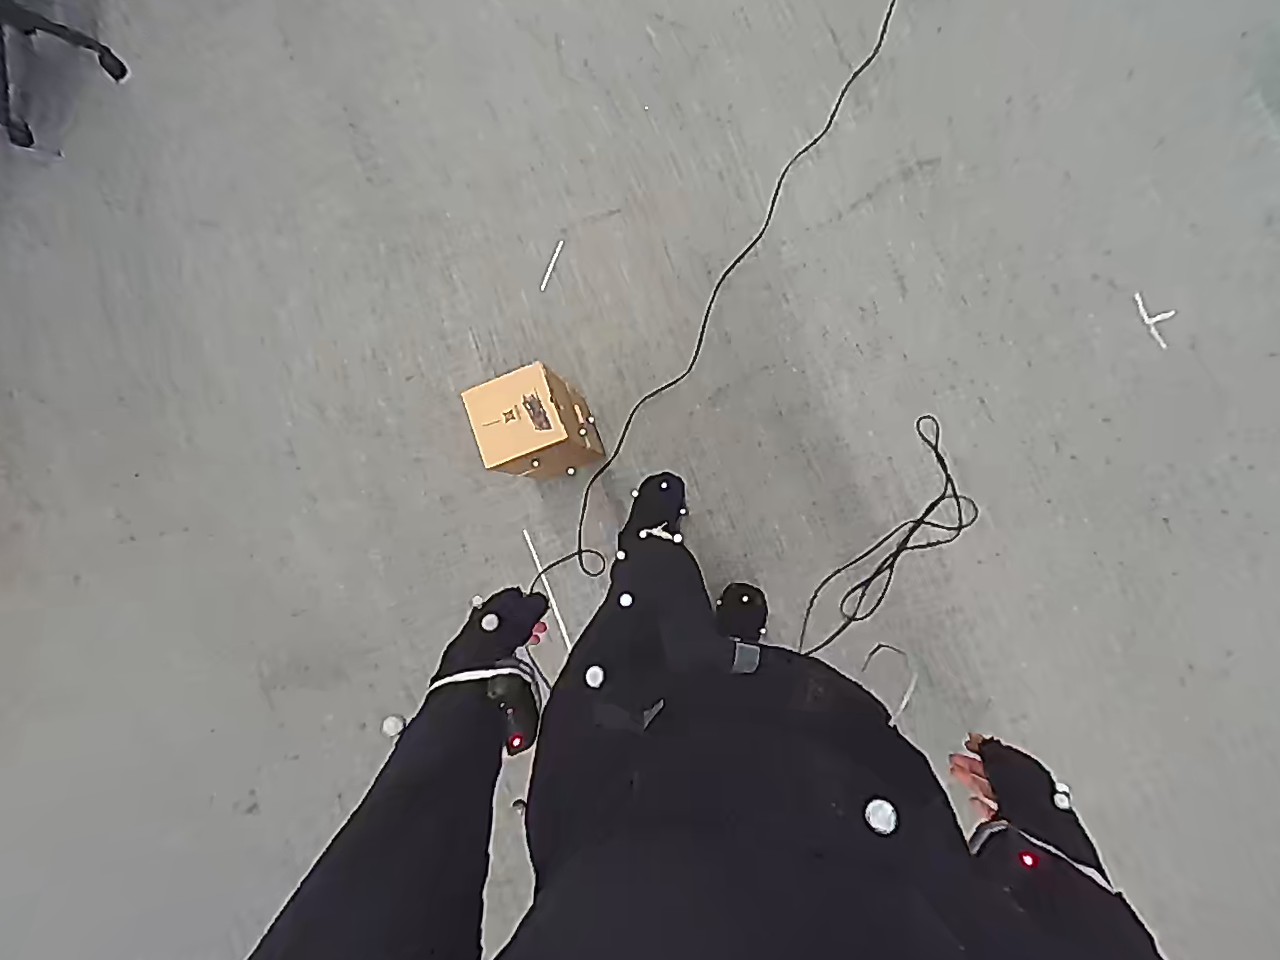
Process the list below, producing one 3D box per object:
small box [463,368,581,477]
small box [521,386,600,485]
[{"bbox_3d":[-0.234,-0.112,1.130,0.179,0.176,0.168,-20,84,7],"label":"small box"},{"bbox_3d":[-0.206,-0.099,1.295,0.179,0.176,0.168,-23,81,4],"label":"small box"}]
